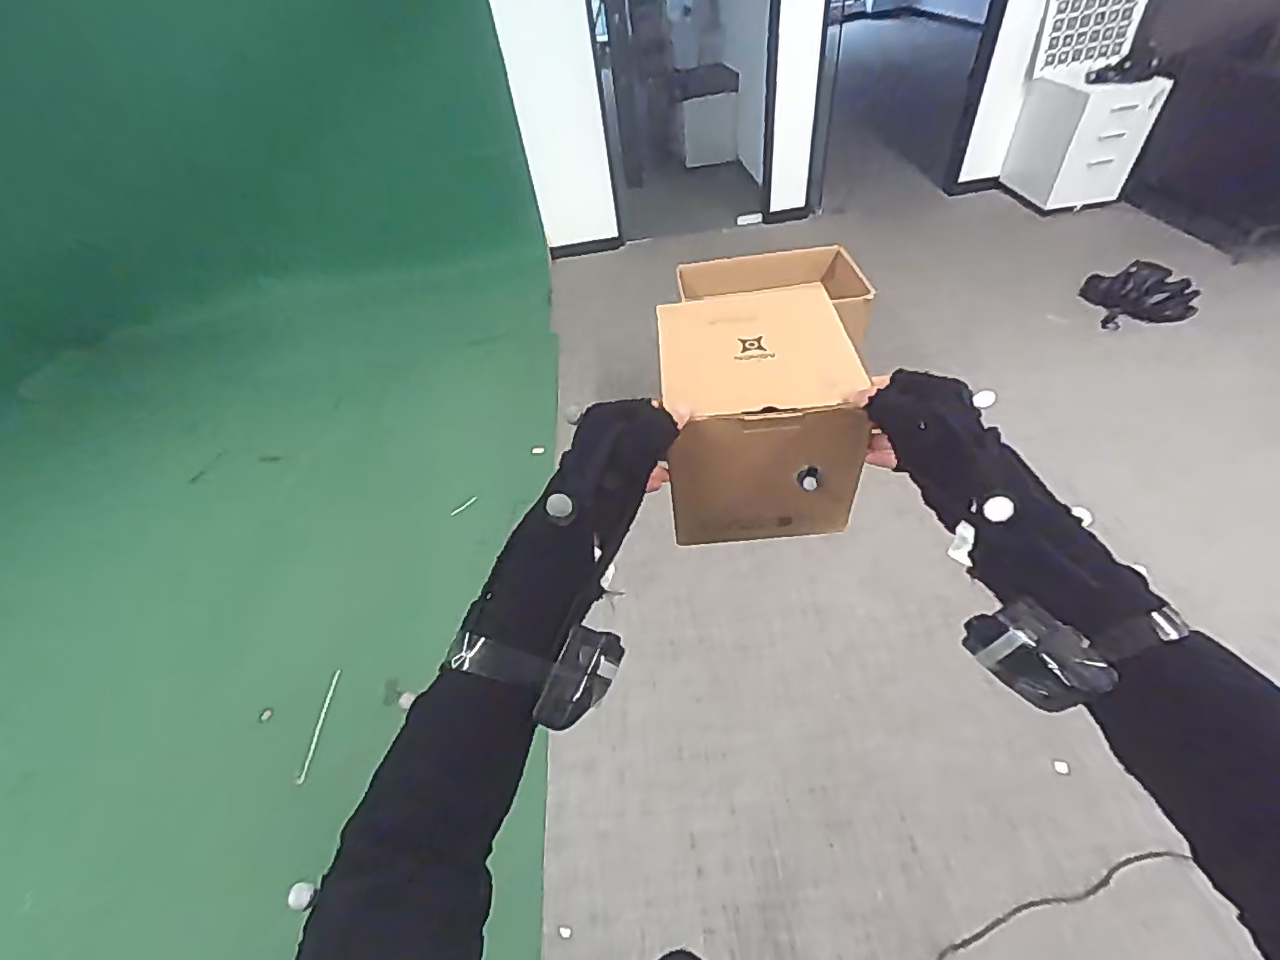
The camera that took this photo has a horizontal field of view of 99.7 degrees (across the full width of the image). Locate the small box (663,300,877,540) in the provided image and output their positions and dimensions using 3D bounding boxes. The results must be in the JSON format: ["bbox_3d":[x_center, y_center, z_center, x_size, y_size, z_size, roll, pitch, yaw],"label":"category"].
[{"bbox_3d":[0.112,-0.053,0.534,0.168,0.176,0.179,-4,45,4],"label":"small box"}]
